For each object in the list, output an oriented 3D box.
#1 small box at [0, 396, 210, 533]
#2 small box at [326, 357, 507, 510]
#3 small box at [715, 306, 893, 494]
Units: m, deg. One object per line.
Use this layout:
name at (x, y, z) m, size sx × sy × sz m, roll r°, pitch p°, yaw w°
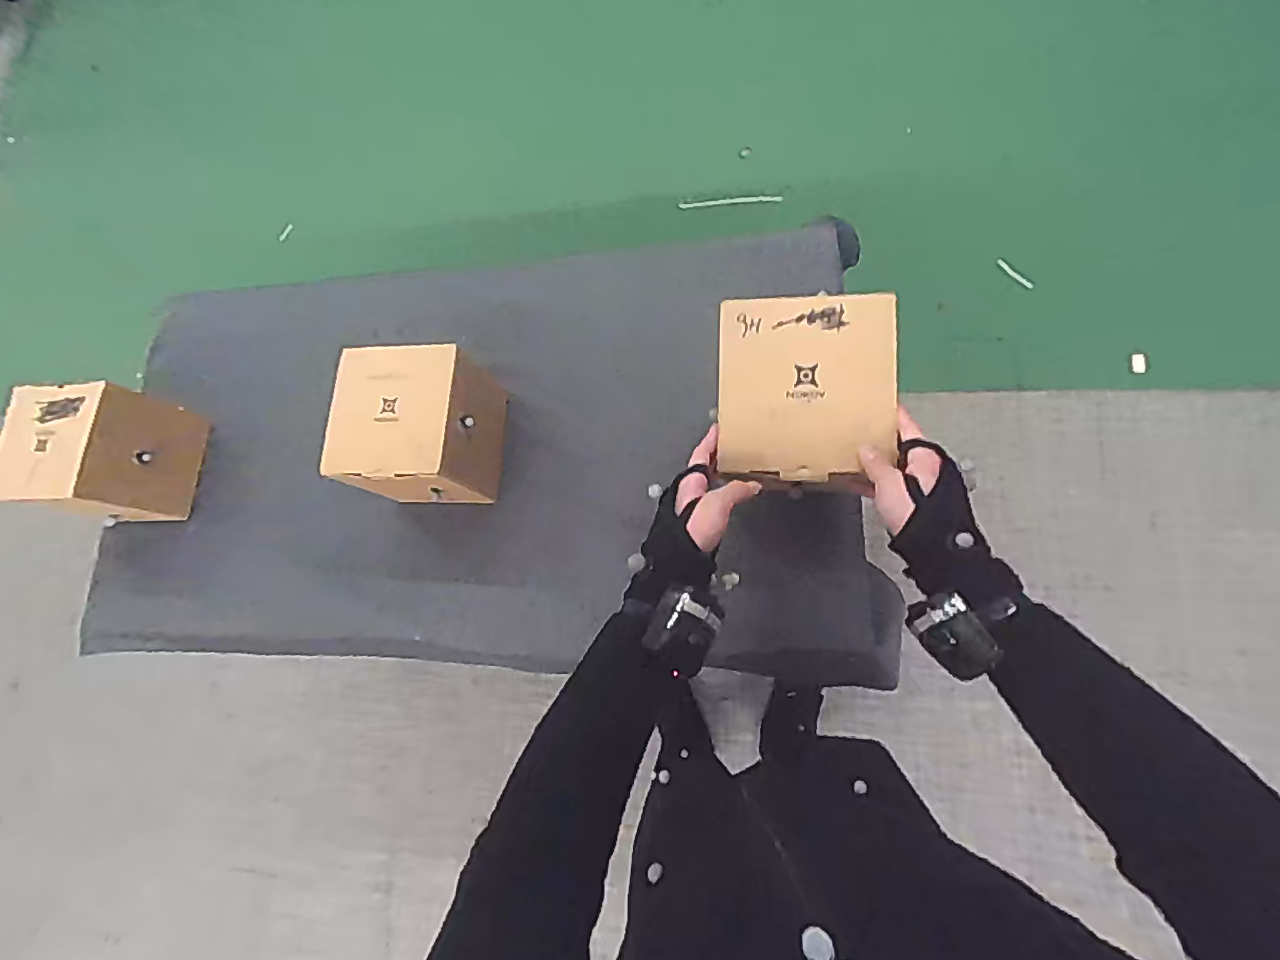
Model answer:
small box at (-0.825, -0.017, 0.845) m, size 0.168 × 0.176 × 0.179 m, roll -2°, pitch 76°, yaw 10°
small box at (-0.300, -0.056, 0.764) m, size 0.168 × 0.176 × 0.179 m, roll 0°, pitch 76°, yaw 9°
small box at (0.173, -0.076, 0.603) m, size 0.168 × 0.176 × 0.179 m, roll 1°, pitch 85°, yaw 11°
